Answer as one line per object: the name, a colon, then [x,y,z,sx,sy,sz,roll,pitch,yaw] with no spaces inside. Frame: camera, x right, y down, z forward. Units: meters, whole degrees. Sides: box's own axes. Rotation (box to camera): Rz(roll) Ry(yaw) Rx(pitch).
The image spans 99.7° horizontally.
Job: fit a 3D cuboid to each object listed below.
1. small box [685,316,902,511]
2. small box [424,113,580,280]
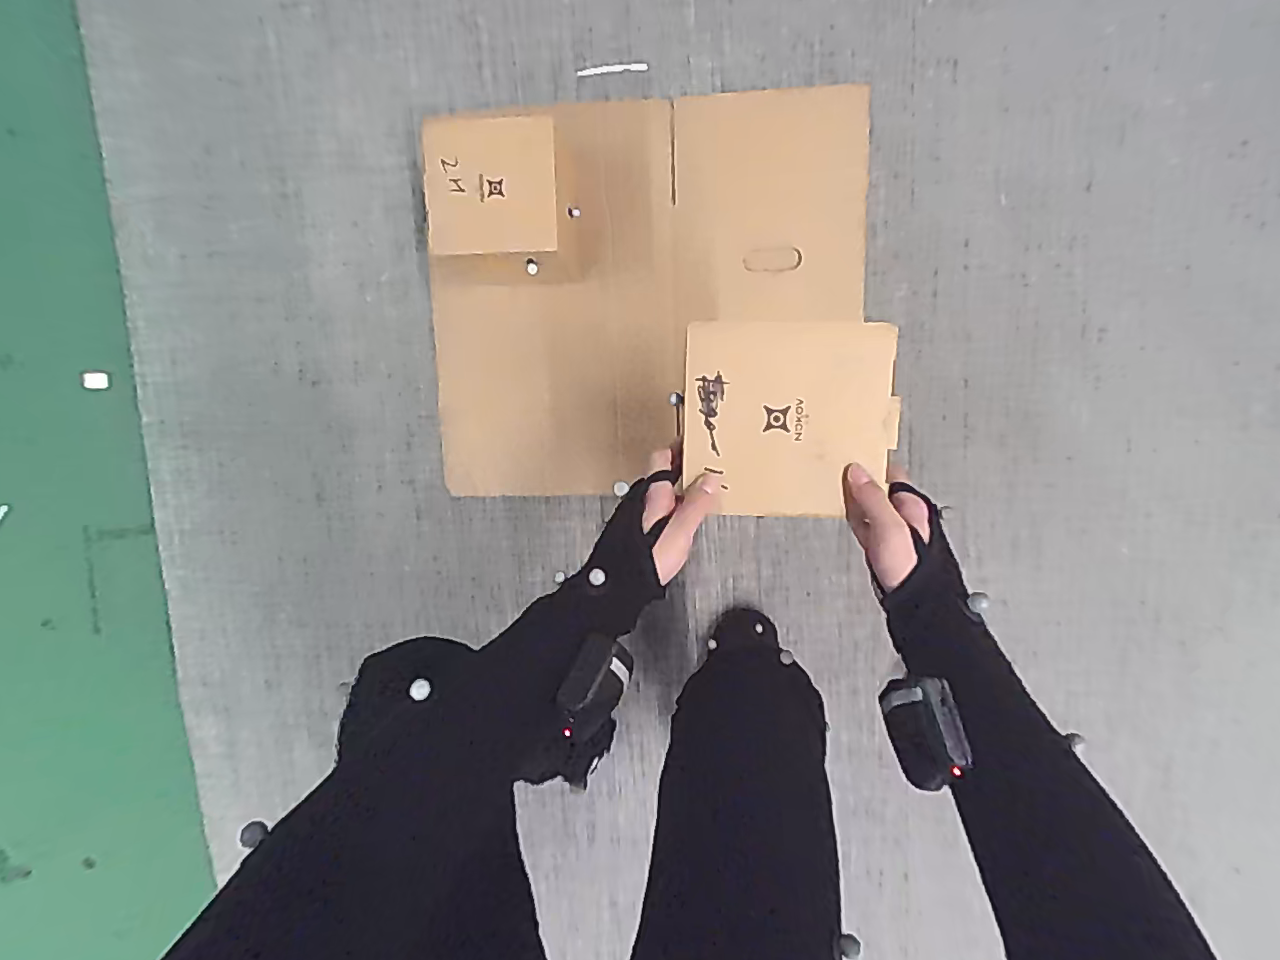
small box: [0.136,-0.062,0.539,0.179,0.176,0.168,1,93,4]
small box: [-0.183,-0.389,0.770,0.179,0.176,0.168,0,97,5]
